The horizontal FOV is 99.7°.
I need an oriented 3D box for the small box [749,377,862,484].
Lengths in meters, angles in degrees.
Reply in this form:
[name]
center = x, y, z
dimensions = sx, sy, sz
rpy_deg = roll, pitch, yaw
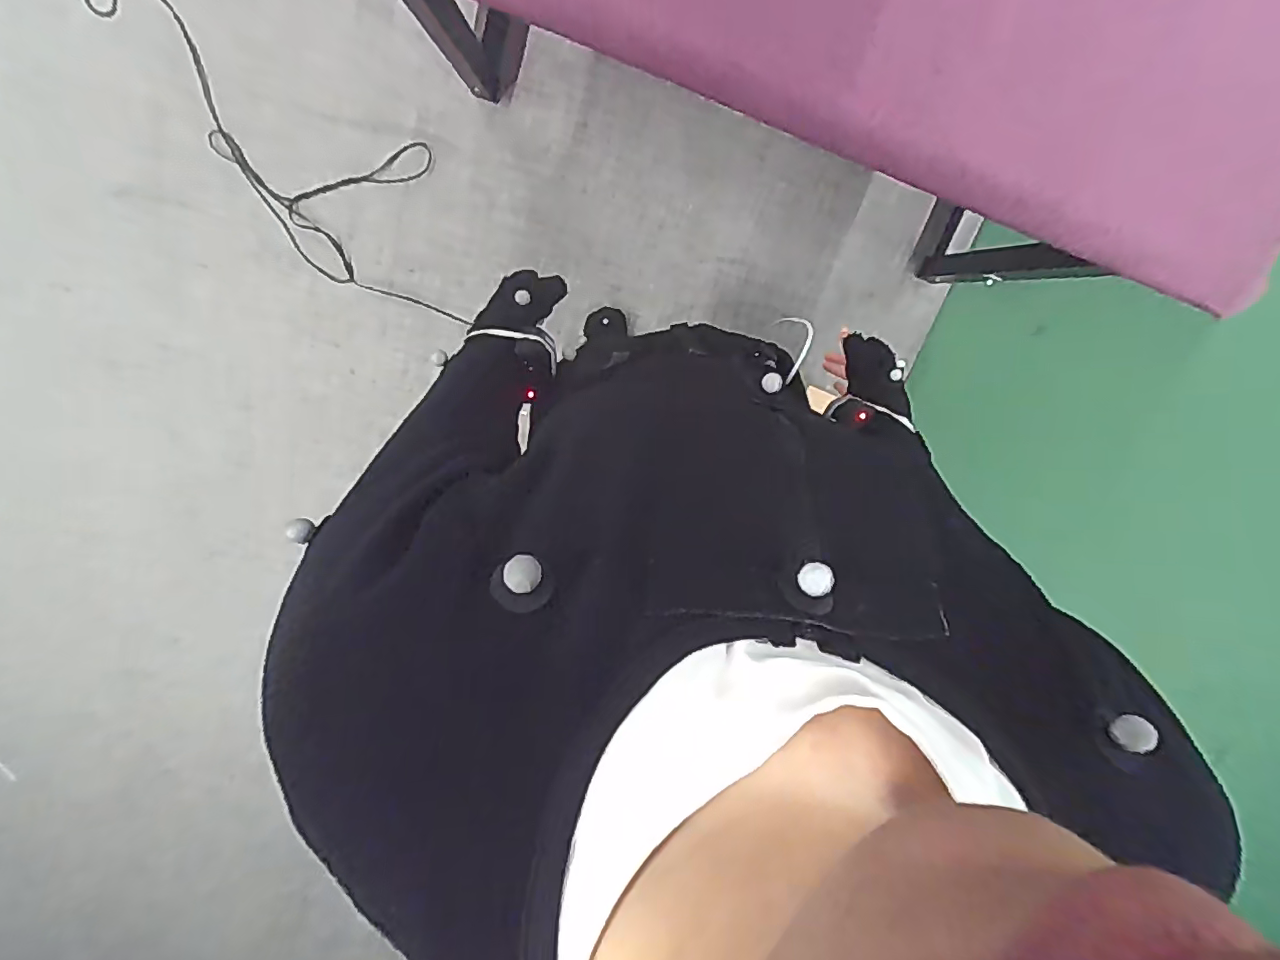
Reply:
[small box]
center = 0.365, -0.119, 1.236
dimensions = 0.168, 0.176, 0.179
rpy_deg = 21, 106, -9
